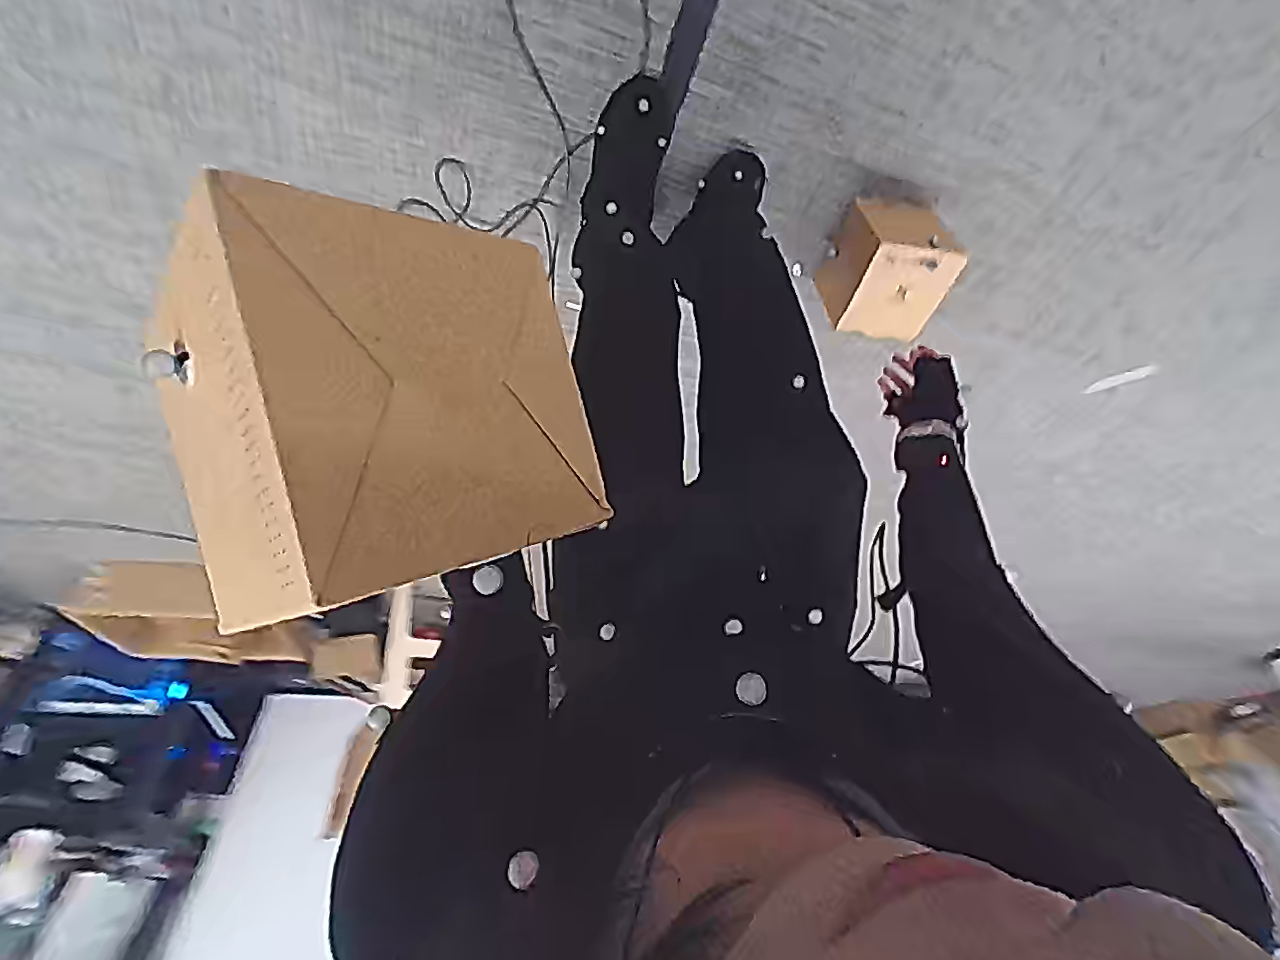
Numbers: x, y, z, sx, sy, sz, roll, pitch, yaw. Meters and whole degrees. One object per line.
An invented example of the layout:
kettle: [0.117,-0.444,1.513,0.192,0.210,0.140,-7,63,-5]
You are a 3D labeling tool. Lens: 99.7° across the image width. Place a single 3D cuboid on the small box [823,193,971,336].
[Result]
small box: [0.458,-0.396,1.002,0.168,0.176,0.179,4,142,-8]
